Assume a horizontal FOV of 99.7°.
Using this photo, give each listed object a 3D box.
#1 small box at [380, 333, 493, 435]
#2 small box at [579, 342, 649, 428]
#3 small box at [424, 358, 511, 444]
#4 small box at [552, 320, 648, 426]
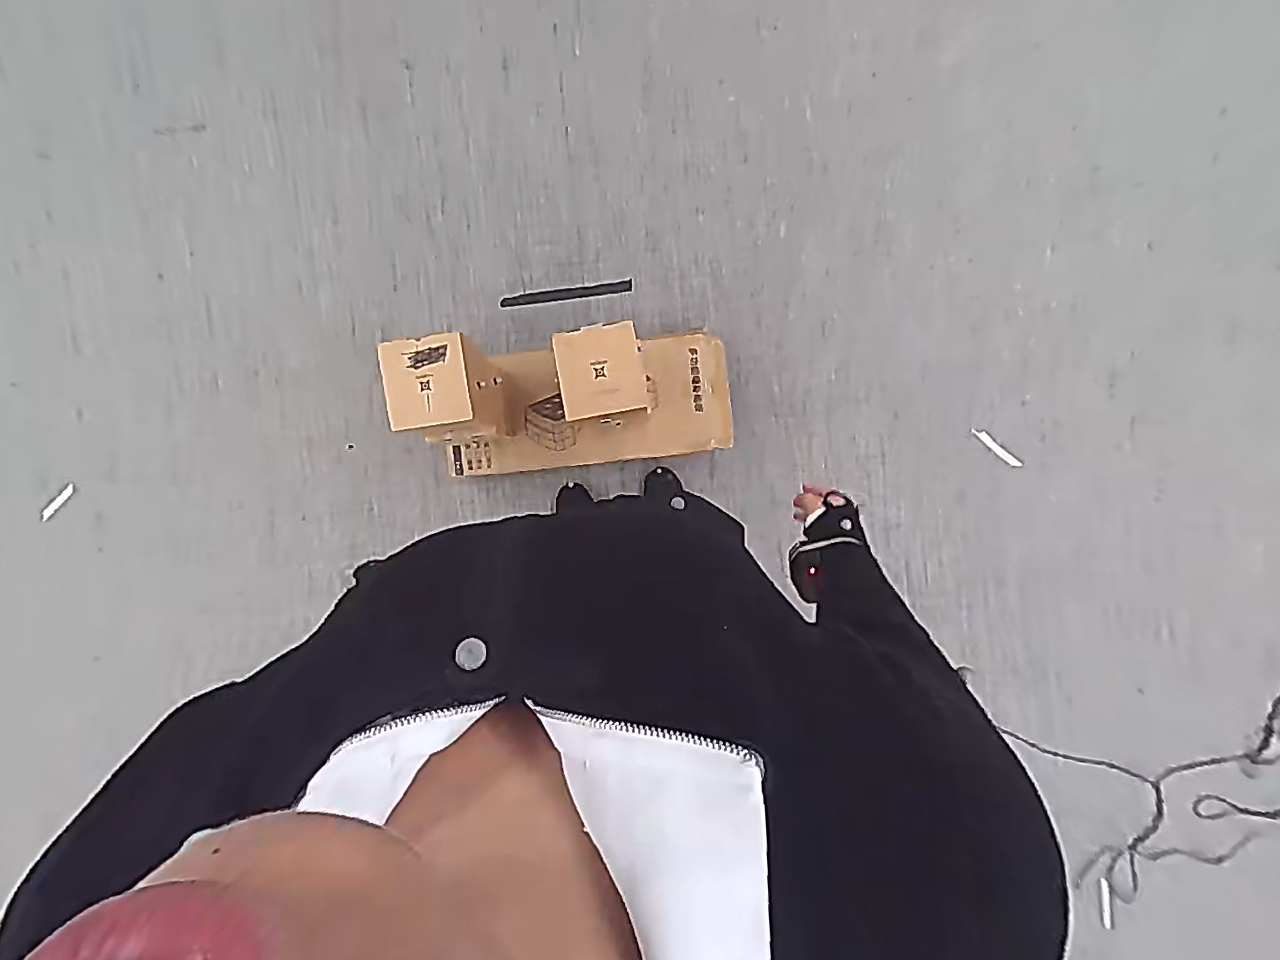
[{"bbox_3d":[-0.420,-0.195,1.137,0.168,0.176,0.179,-8,92,0],"label":"small box"},{"bbox_3d":[-0.070,-0.221,1.303,0.168,0.176,0.179,-9,92,0],"label":"small box"},{"bbox_3d":[-0.417,-0.183,1.301,0.168,0.176,0.179,-6,92,0],"label":"small box"},{"bbox_3d":[-0.080,-0.217,1.140,0.168,0.176,0.179,-11,92,2],"label":"small box"}]
